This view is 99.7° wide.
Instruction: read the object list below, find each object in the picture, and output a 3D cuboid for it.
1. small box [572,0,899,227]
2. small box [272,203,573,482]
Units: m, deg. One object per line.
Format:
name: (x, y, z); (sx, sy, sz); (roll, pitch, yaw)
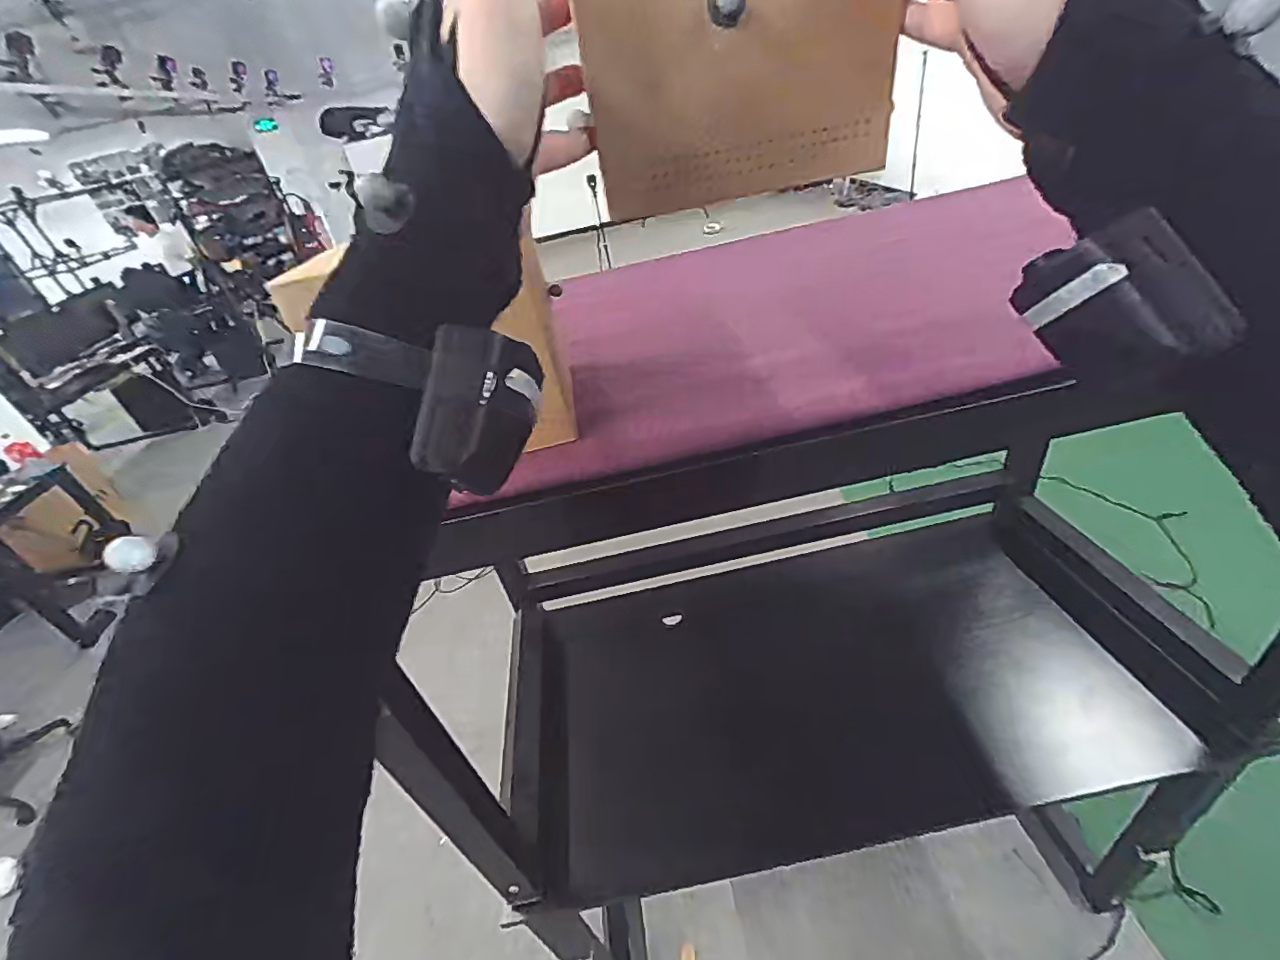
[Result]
small box: (0.051, -0.285, 0.352); (0.179, 0.176, 0.168); (-11, 37, 3)
small box: (-0.159, -0.123, 0.467); (0.168, 0.176, 0.179); (-14, 34, 0)
